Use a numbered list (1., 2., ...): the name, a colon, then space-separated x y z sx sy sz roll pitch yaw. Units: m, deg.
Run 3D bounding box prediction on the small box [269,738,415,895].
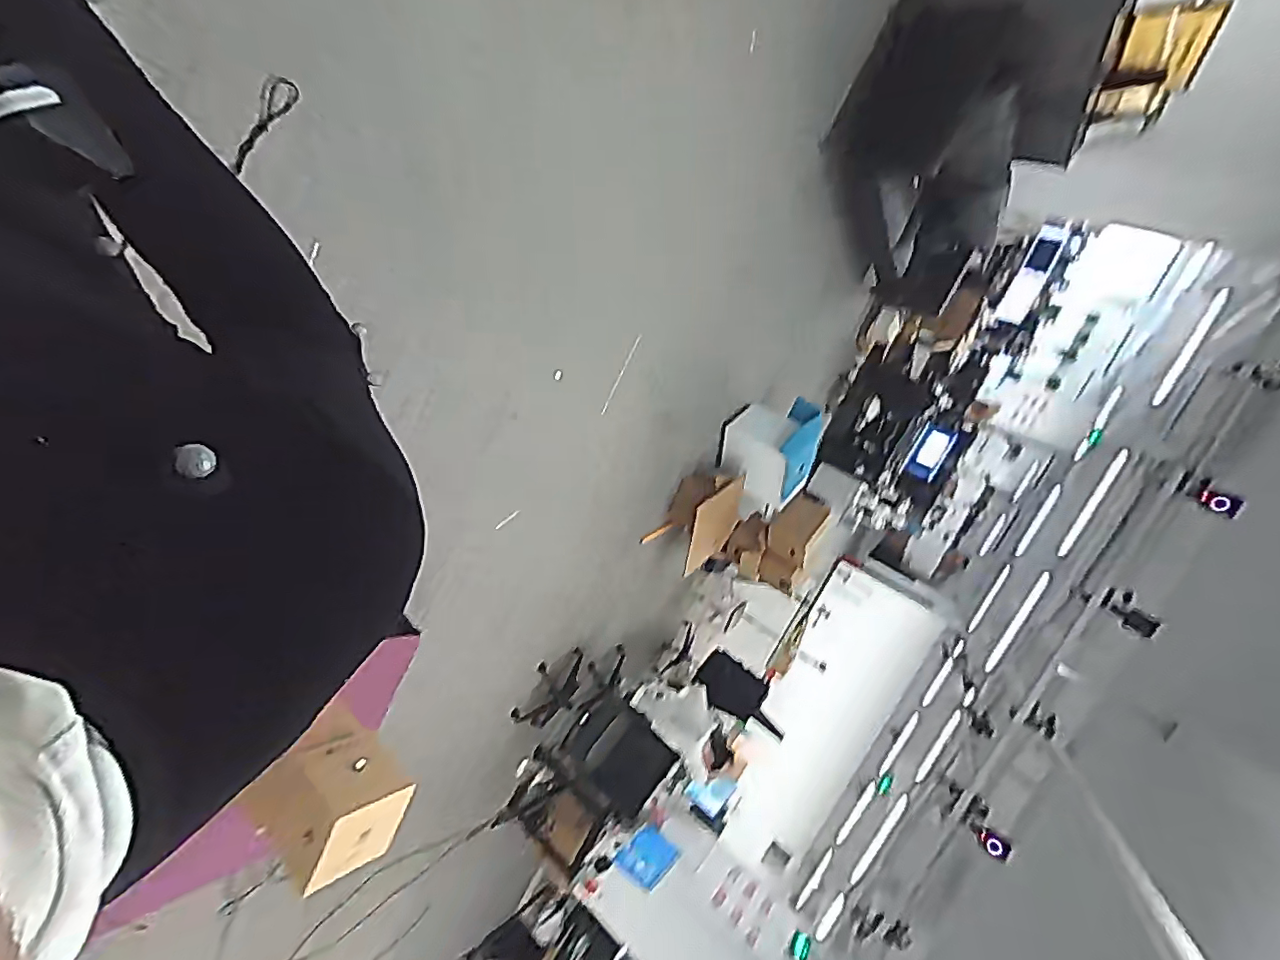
1. small box: -0.584 0.636 1.056 0.168 0.176 0.179 12 106 -60
